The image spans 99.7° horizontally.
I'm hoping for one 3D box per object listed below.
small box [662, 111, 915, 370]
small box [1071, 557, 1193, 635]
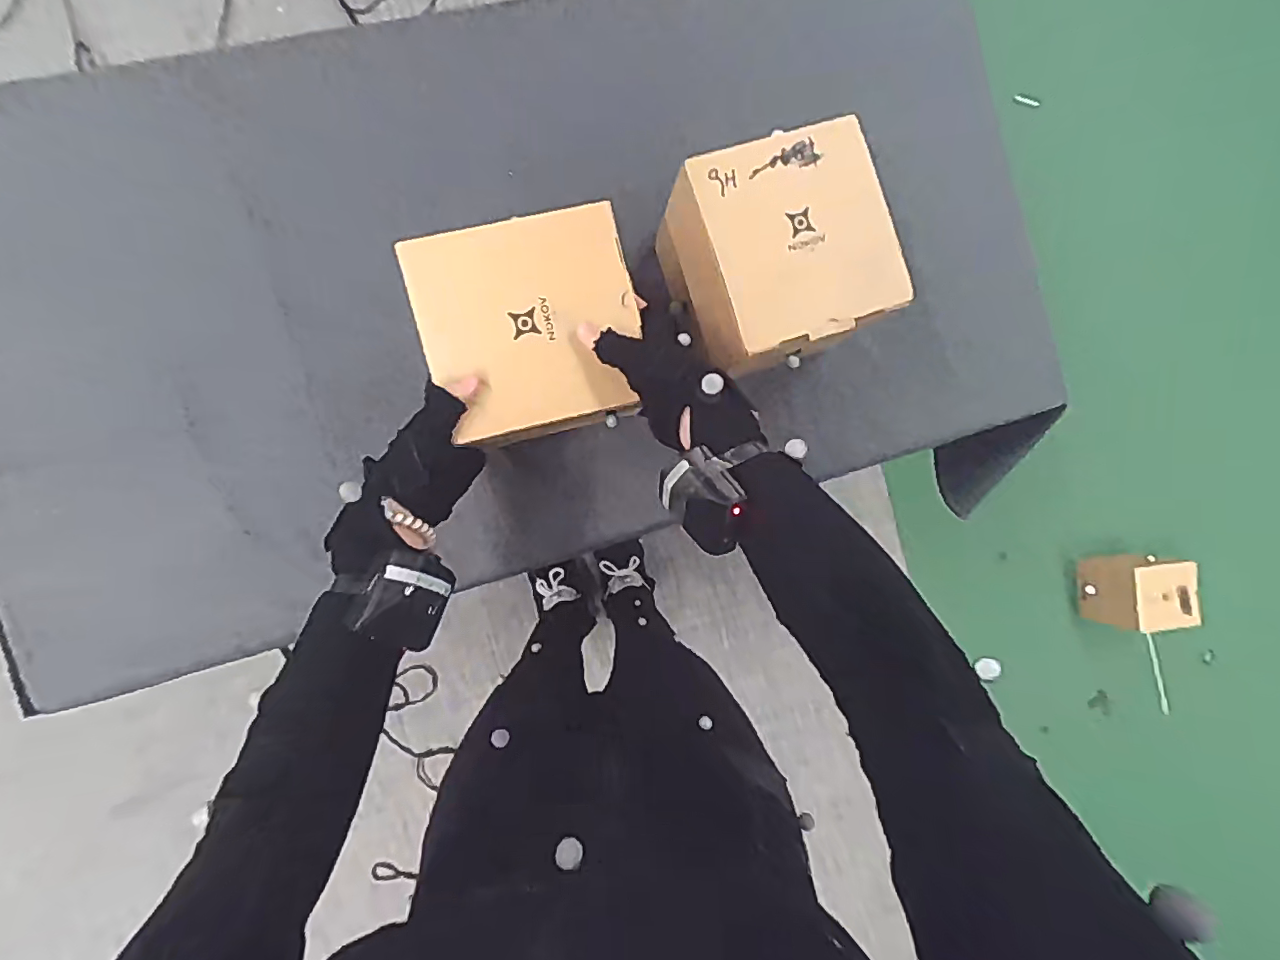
[{"bbox_3d":[0.134,-0.219,0.546,0.168,0.176,0.179,-18,93,-8],"label":"small box"},{"bbox_3d":[1.302,0.301,1.440,0.179,0.176,0.168,-5,90,-7],"label":"small box"}]
